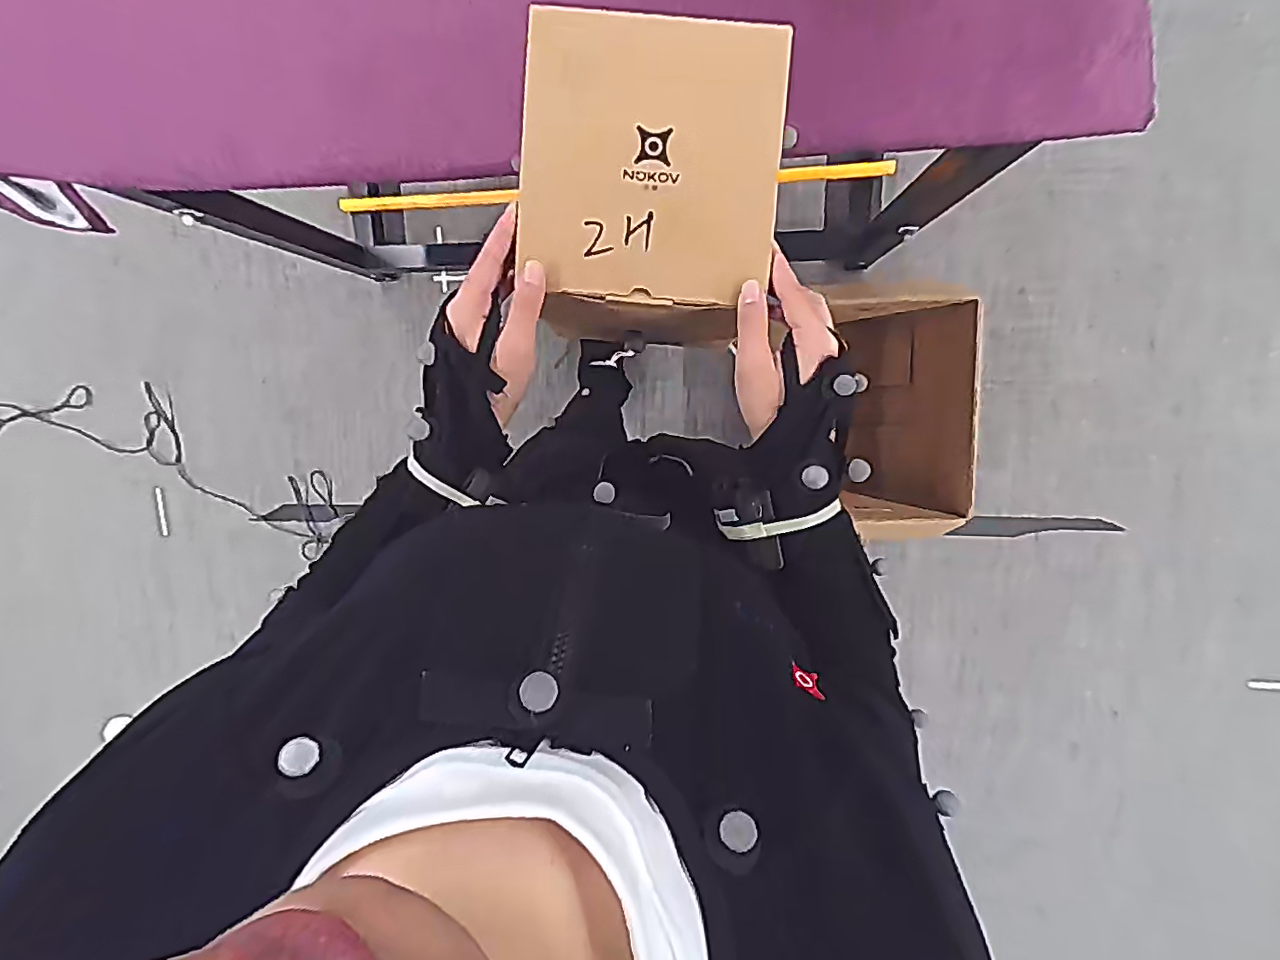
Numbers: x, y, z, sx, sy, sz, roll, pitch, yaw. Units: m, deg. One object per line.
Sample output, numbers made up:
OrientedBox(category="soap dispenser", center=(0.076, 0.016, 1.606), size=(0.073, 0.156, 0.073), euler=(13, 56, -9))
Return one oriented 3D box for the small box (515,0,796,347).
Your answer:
OrientedBox(category="small box", center=(0.009, -0.213, 0.420), size=(0.168, 0.176, 0.179), euler=(5, 94, 0))
